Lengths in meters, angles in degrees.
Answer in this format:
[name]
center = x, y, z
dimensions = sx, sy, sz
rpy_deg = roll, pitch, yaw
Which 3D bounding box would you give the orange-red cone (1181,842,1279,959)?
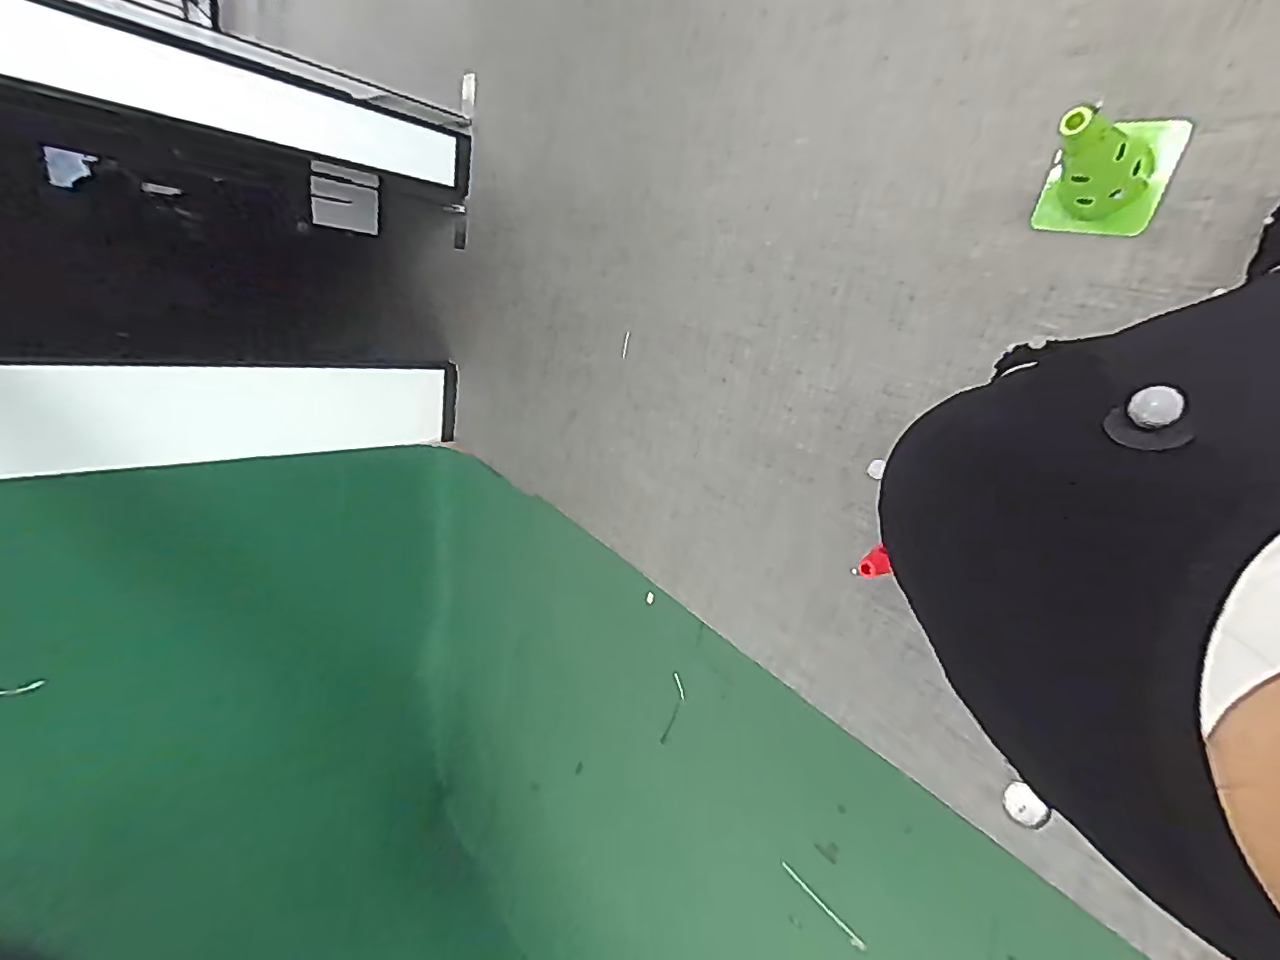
[orange-red cone]
center = 1.096, 0.852, 0.931
dimensions = 0.198, 0.360, 0.199
rpy_deg = 31, 117, 39

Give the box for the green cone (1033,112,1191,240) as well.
[green cone]
center = 0.821, -0.575, 0.975
dimensions = 0.202, 0.368, 0.200
rpy_deg = 28, 117, 39
